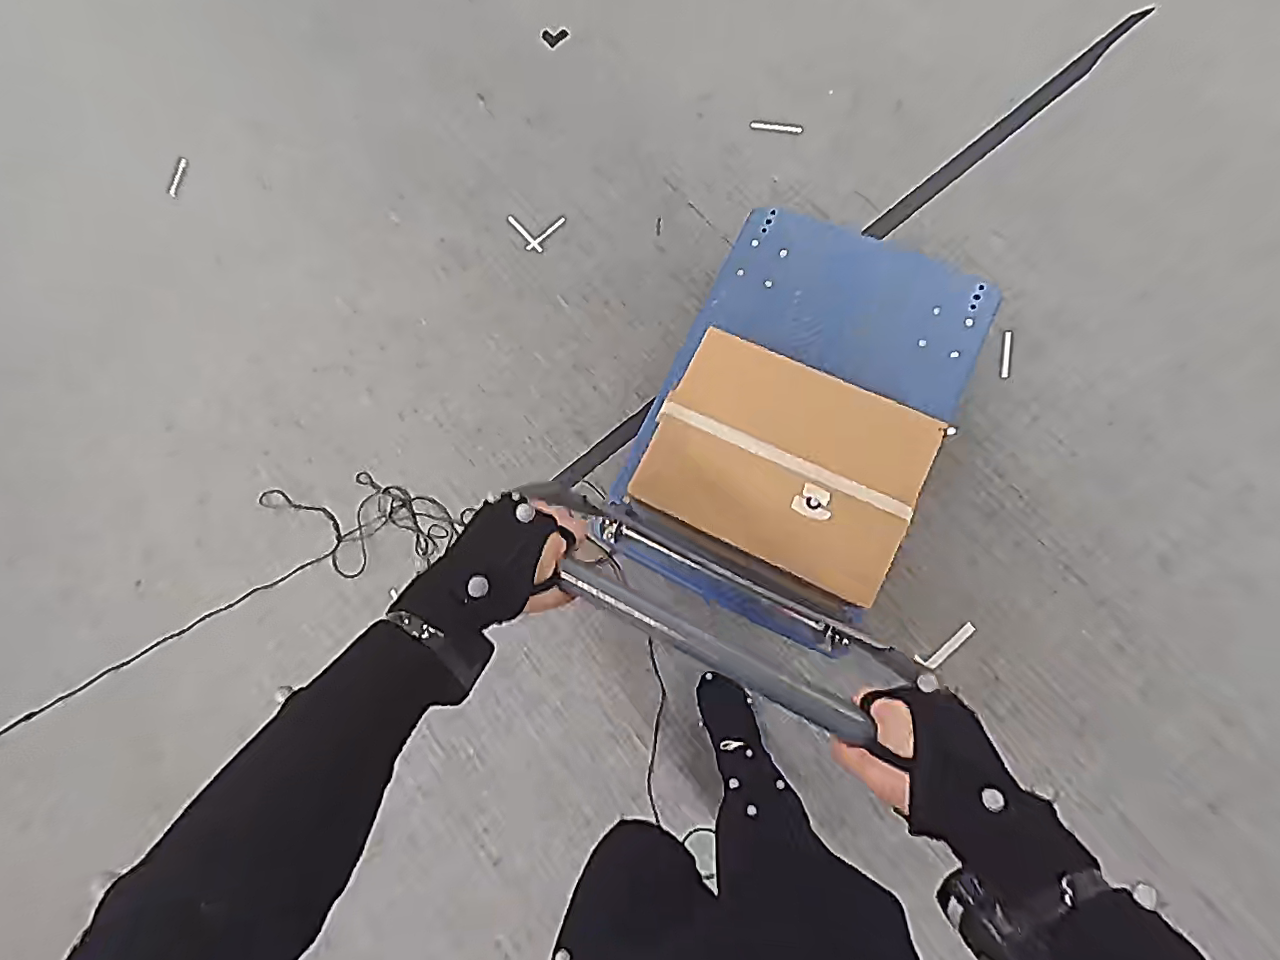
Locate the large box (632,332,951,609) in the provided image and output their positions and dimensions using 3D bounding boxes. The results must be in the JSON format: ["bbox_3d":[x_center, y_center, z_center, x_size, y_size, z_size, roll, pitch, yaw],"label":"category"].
[{"bbox_3d":[0.239,0.001,0.969,0.408,0.320,0.320,26,83,10],"label":"large box"}]
